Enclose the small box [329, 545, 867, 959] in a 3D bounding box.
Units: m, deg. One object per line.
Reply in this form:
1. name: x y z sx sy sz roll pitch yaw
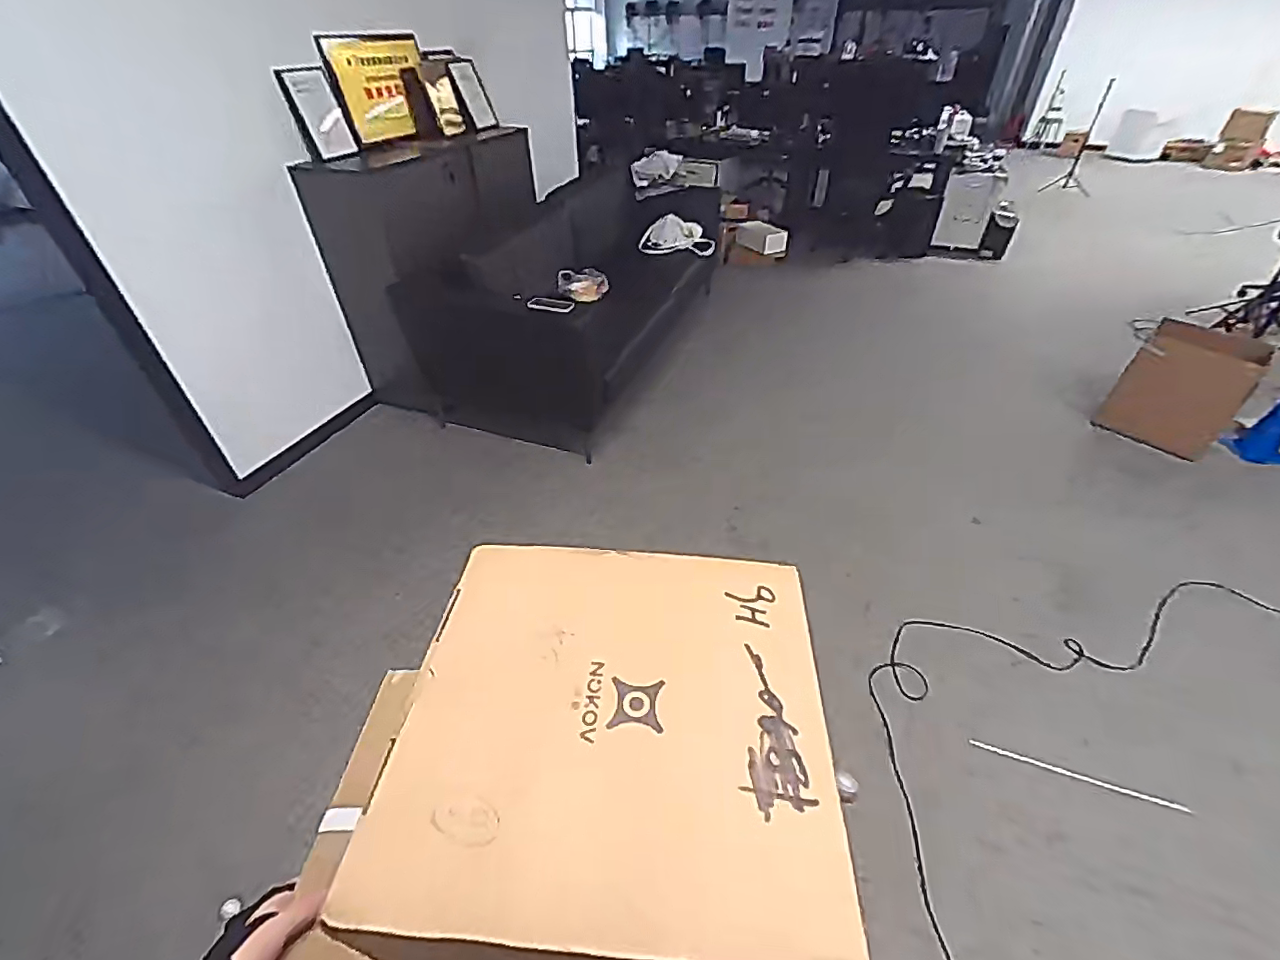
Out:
1. small box: -0.008 0.153 0.279 0.179 0.176 0.168 3 42 4
